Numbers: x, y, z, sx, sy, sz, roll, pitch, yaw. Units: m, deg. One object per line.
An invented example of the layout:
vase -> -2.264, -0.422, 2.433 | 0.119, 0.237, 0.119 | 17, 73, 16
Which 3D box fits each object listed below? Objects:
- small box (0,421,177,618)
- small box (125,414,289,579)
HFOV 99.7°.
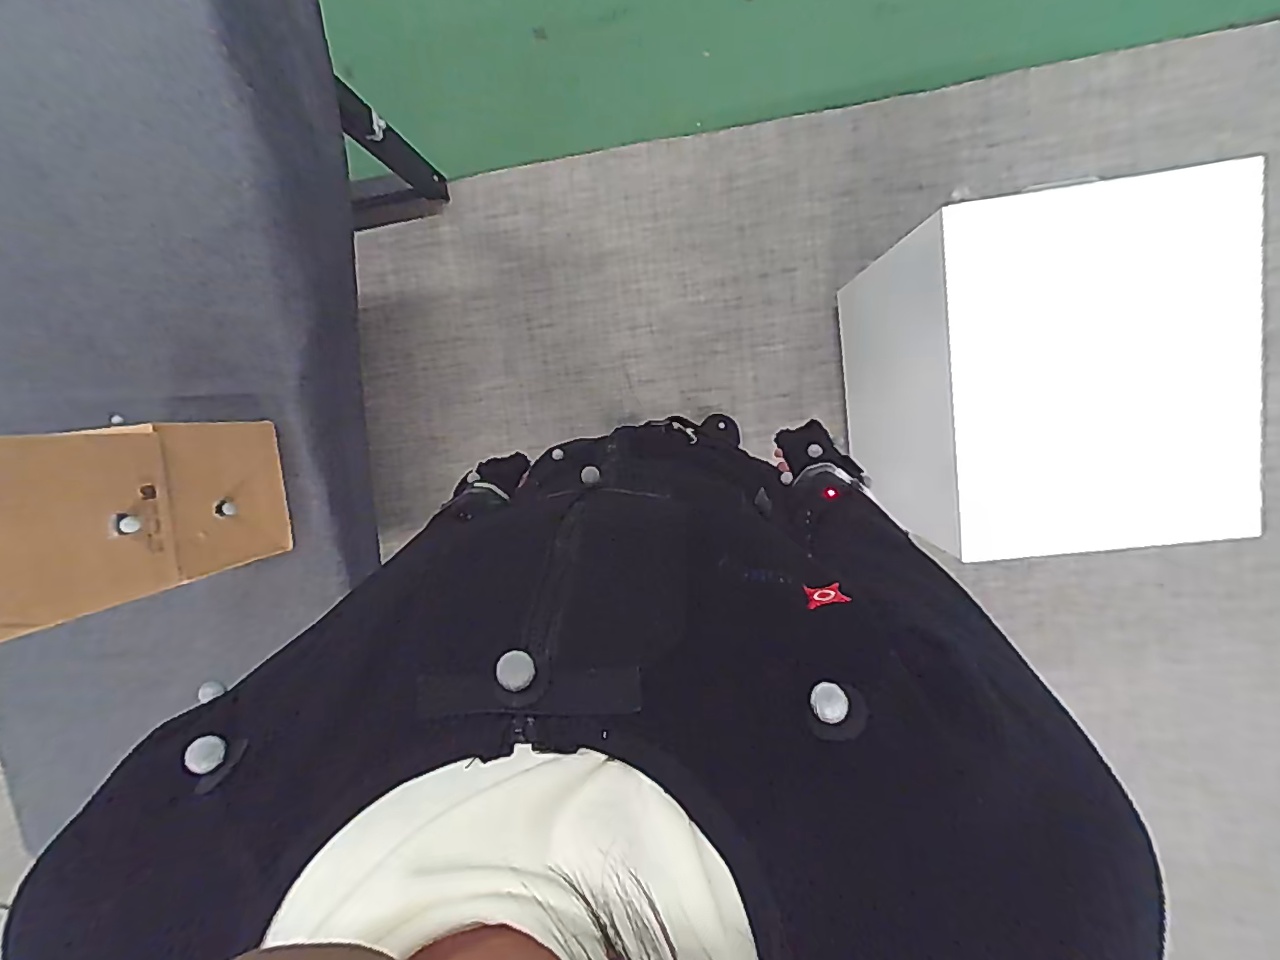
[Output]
small box -> -0.597, 0.033, 0.507 | 0.179, 0.176, 0.168 | -4, 97, 9
small box -> -0.574, 0.013, 0.669 | 0.168, 0.176, 0.179 | -4, 97, 8
